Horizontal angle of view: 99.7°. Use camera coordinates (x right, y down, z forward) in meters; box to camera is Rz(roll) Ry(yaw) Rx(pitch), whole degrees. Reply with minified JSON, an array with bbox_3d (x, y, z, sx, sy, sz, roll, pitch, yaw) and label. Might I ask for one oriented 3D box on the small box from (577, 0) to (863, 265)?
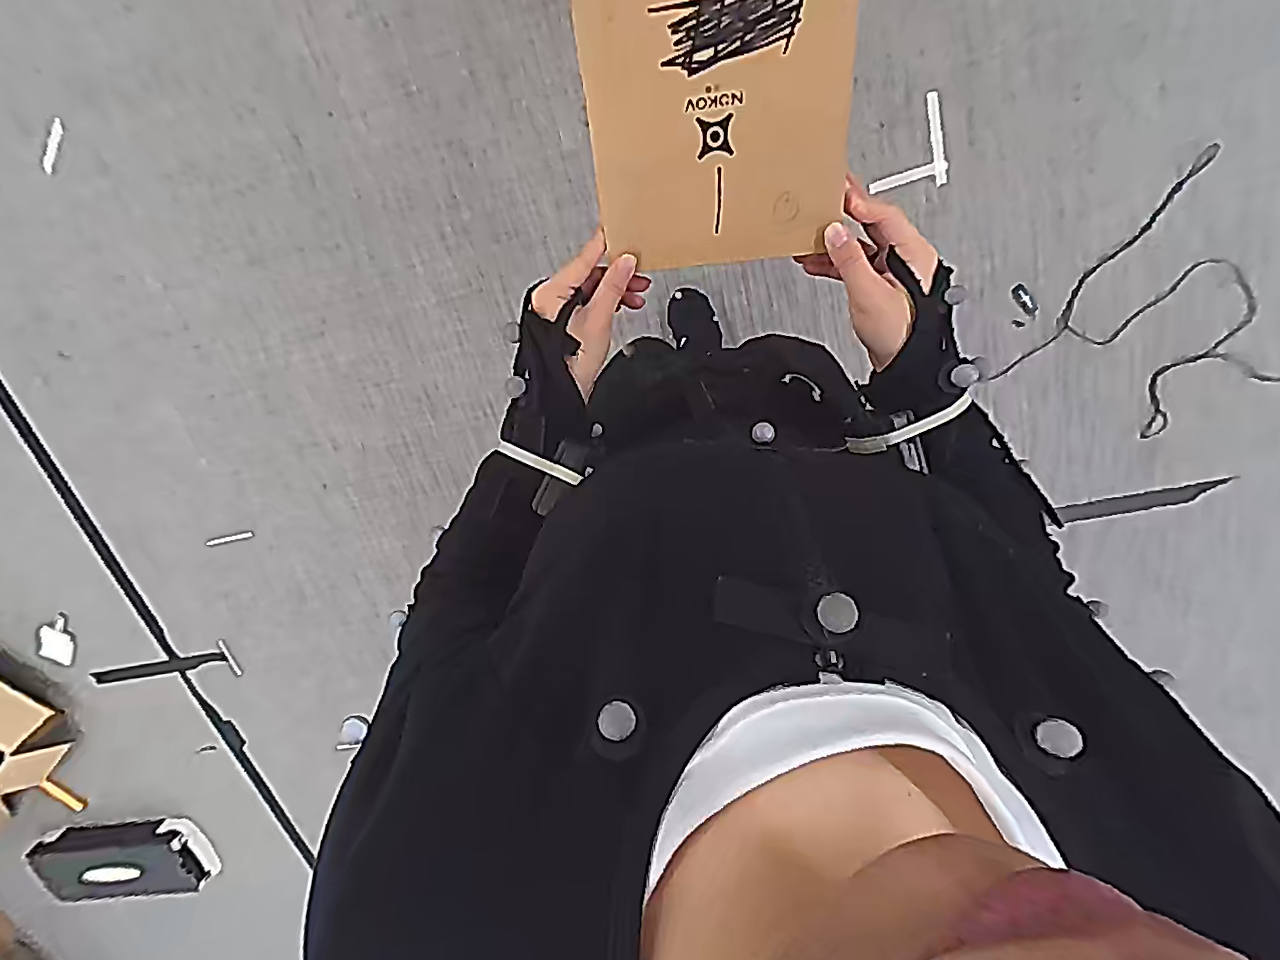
[{"bbox_3d":[0.057,-0.276,0.405,0.168,0.176,0.179,-2,124,9],"label":"small box"}]
